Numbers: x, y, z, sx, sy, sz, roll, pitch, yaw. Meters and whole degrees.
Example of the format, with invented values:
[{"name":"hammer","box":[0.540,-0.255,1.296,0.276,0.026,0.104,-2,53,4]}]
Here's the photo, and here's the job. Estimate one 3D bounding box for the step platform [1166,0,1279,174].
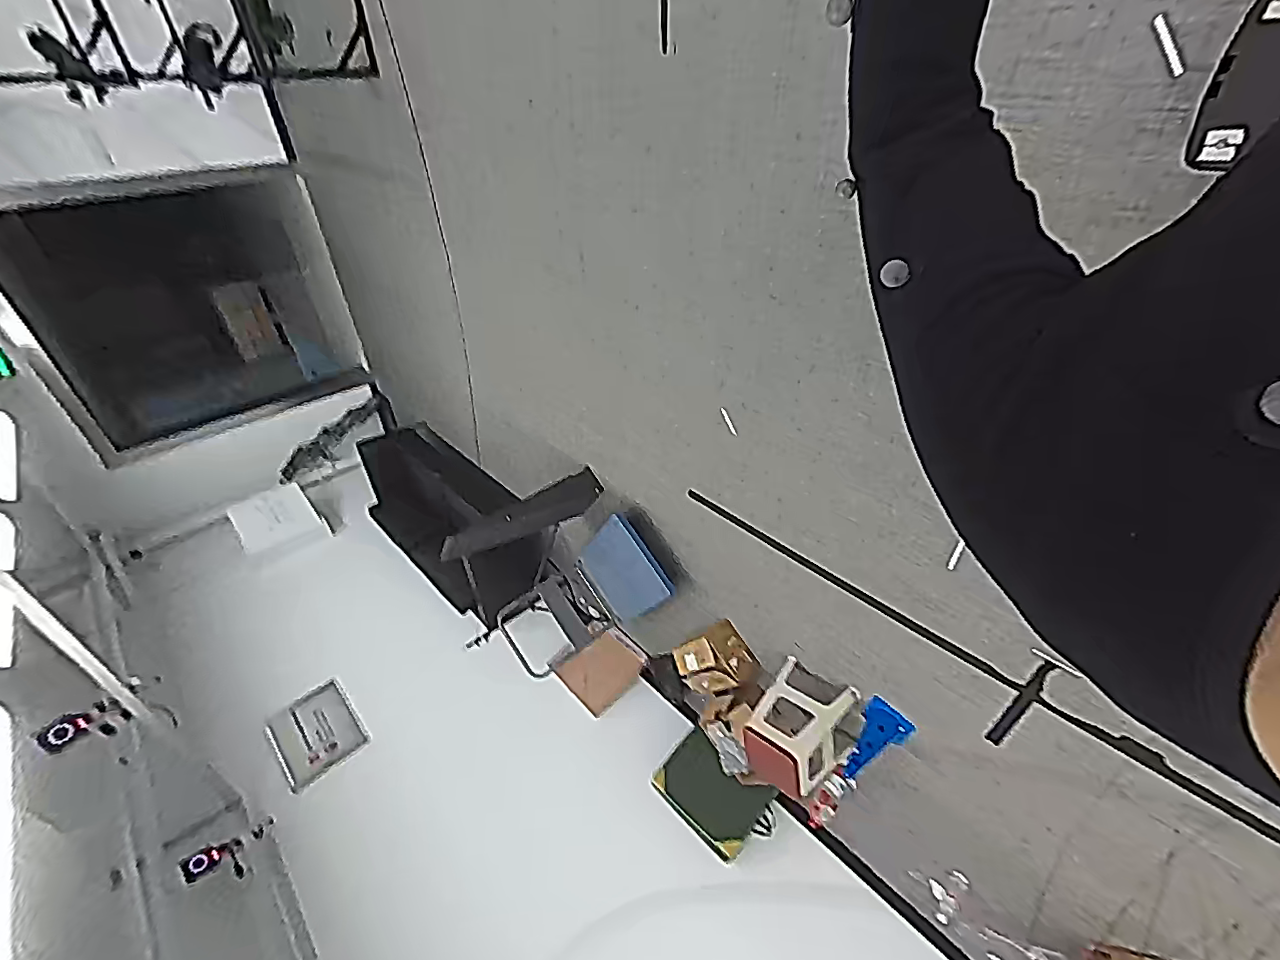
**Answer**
[{"name":"step platform","box":[1.249,-0.604,0.788,0.684,0.204,0.286,31,138,39]}]
